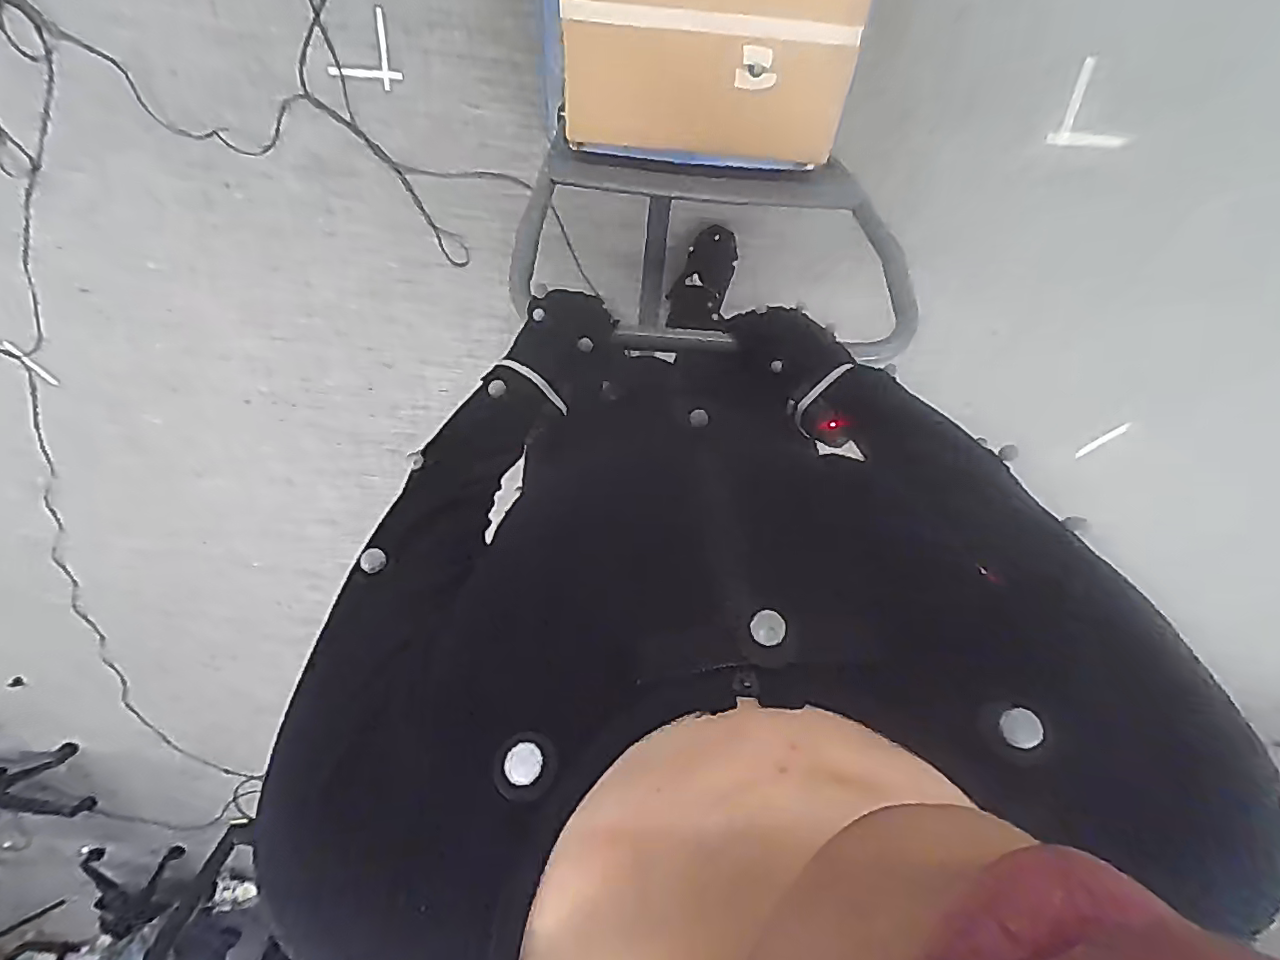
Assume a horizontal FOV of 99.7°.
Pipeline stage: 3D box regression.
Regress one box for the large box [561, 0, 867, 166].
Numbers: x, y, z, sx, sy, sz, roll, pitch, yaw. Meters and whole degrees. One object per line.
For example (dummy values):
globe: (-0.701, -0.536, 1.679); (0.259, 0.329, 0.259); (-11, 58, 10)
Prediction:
large box: (0.092, -0.705, 0.828); (0.408, 0.320, 0.320); (3, 135, -3)
